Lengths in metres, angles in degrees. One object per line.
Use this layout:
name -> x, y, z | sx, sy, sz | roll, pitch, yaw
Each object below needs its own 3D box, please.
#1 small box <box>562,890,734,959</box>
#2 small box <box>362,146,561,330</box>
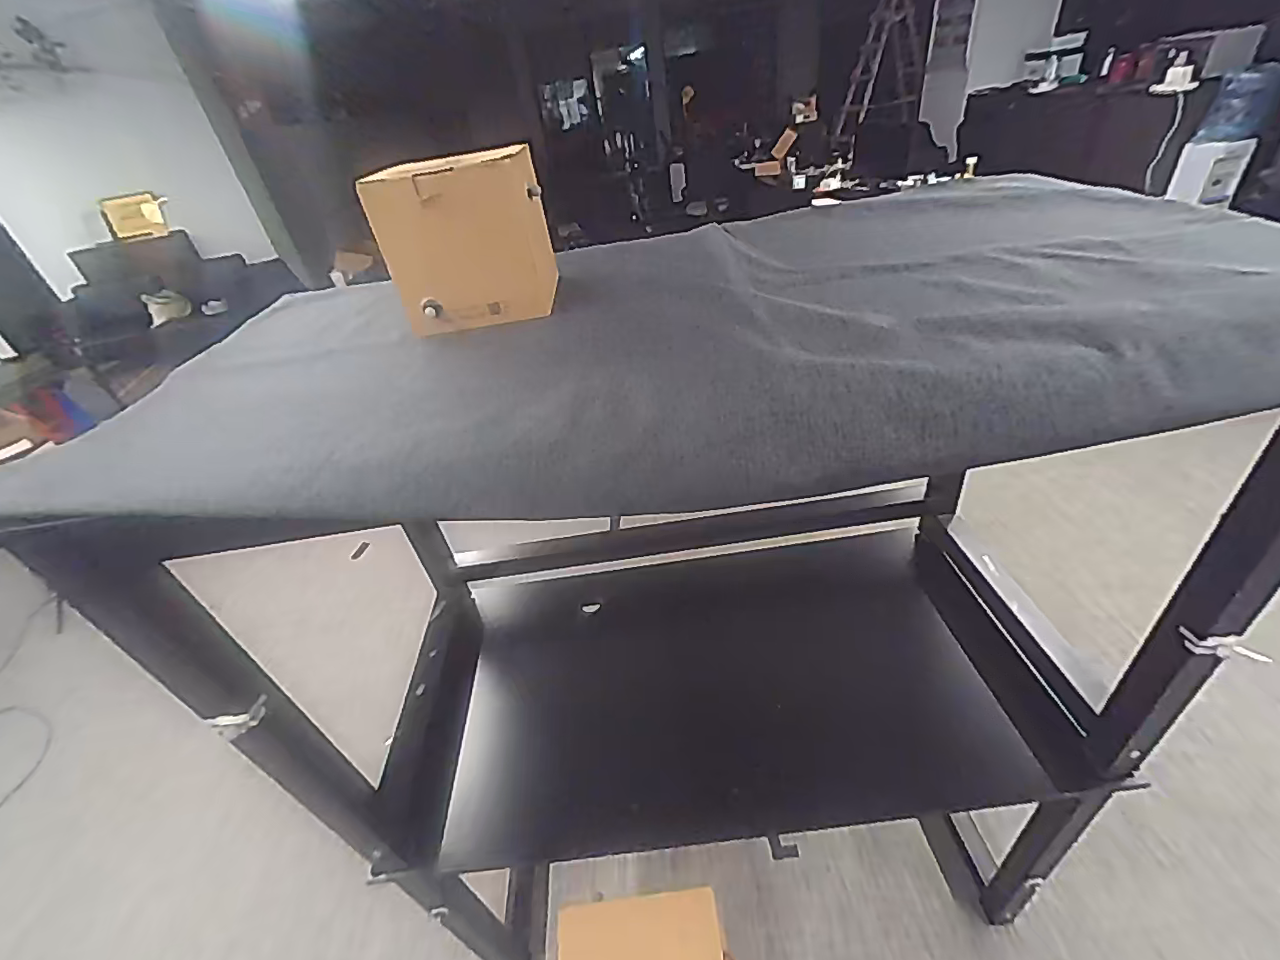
small box -> 0.020, 0.565, 0.574 | 0.179, 0.176, 0.168 | -11, 39, 3
small box -> -0.199, -0.294, 0.666 | 0.168, 0.176, 0.179 | -9, 35, 2
